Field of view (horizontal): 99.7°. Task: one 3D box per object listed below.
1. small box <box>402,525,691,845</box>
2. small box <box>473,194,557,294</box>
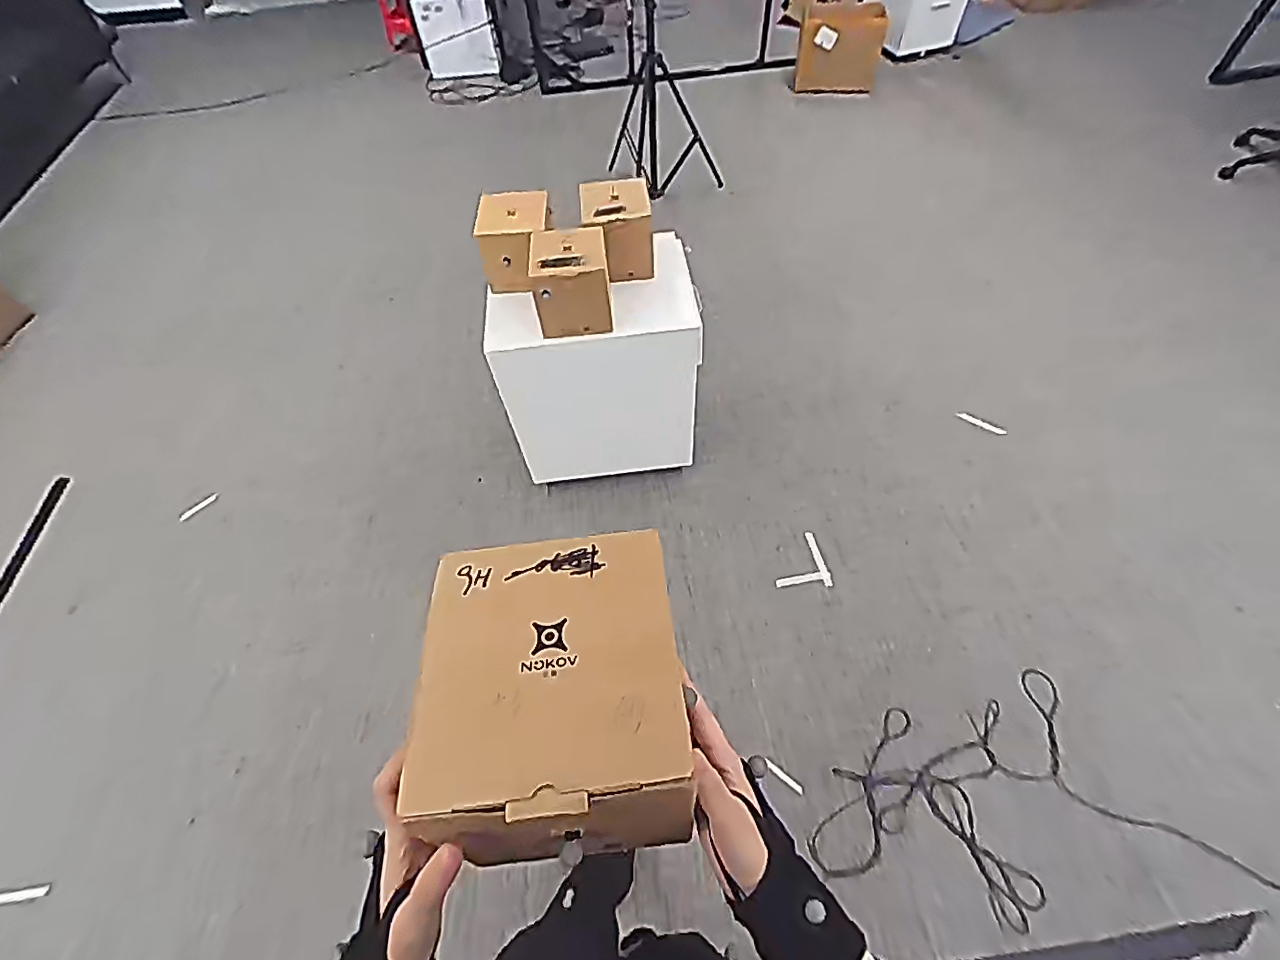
[{"bbox_3d":[-0.053,0.160,0.409,0.168,0.176,0.179,-6,48,-1],"label":"small box"},{"bbox_3d":[-0.303,-0.581,1.349,0.168,0.176,0.179,-4,56,0],"label":"small box"}]
